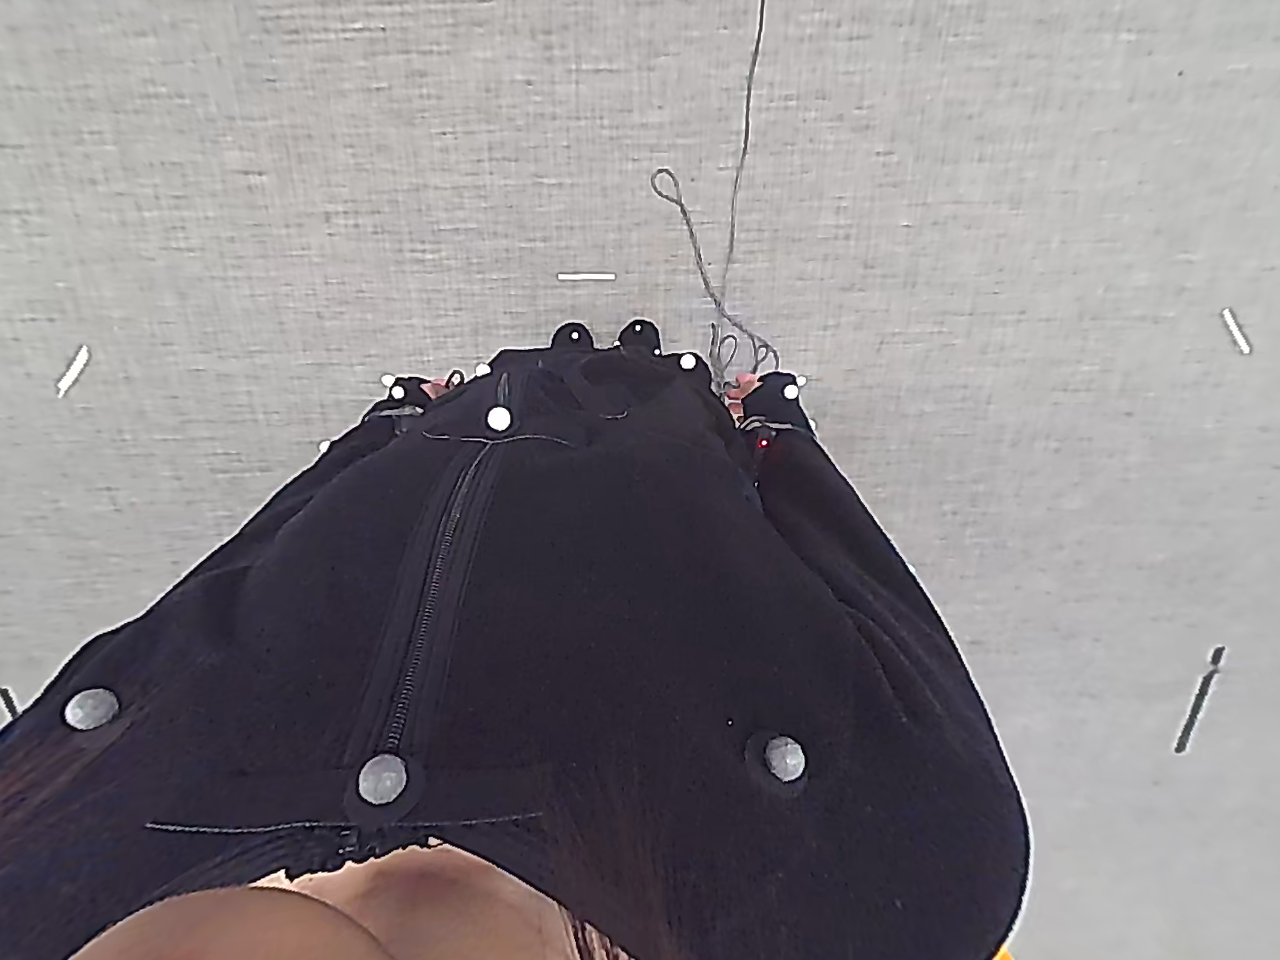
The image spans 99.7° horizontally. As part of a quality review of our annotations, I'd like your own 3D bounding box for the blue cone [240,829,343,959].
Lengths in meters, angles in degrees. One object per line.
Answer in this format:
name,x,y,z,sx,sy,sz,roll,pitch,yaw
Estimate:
blue cone,-1.116,1.322,1.695,0.193,0.380,0.192,2,107,-1
